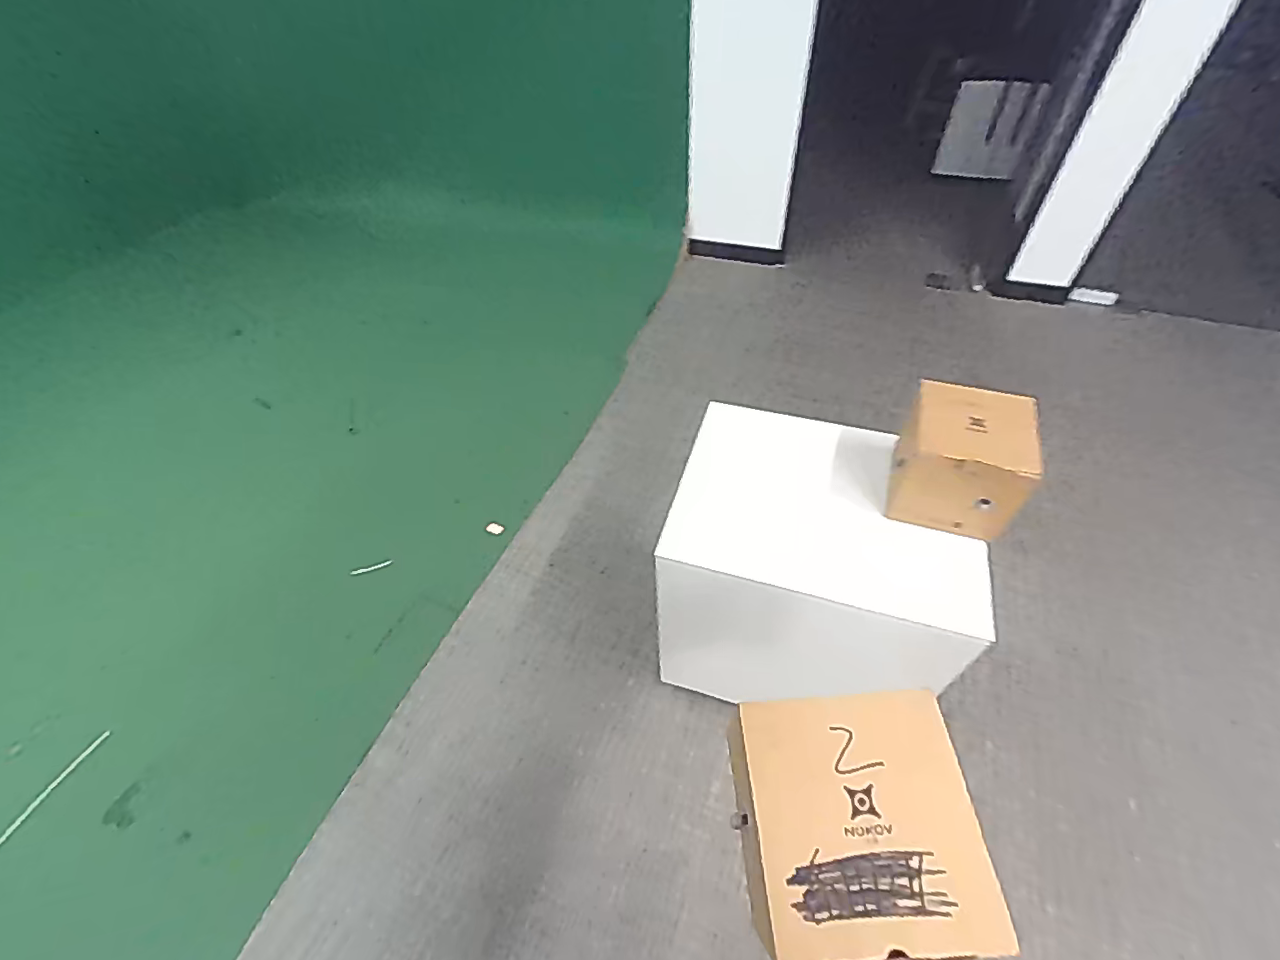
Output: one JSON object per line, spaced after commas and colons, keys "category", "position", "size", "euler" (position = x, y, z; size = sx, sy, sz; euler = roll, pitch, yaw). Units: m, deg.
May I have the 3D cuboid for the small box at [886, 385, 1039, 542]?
{"category": "small box", "position": [0.513, -0.025, 0.882], "size": [0.168, 0.176, 0.179], "euler": [14, 51, 15]}
